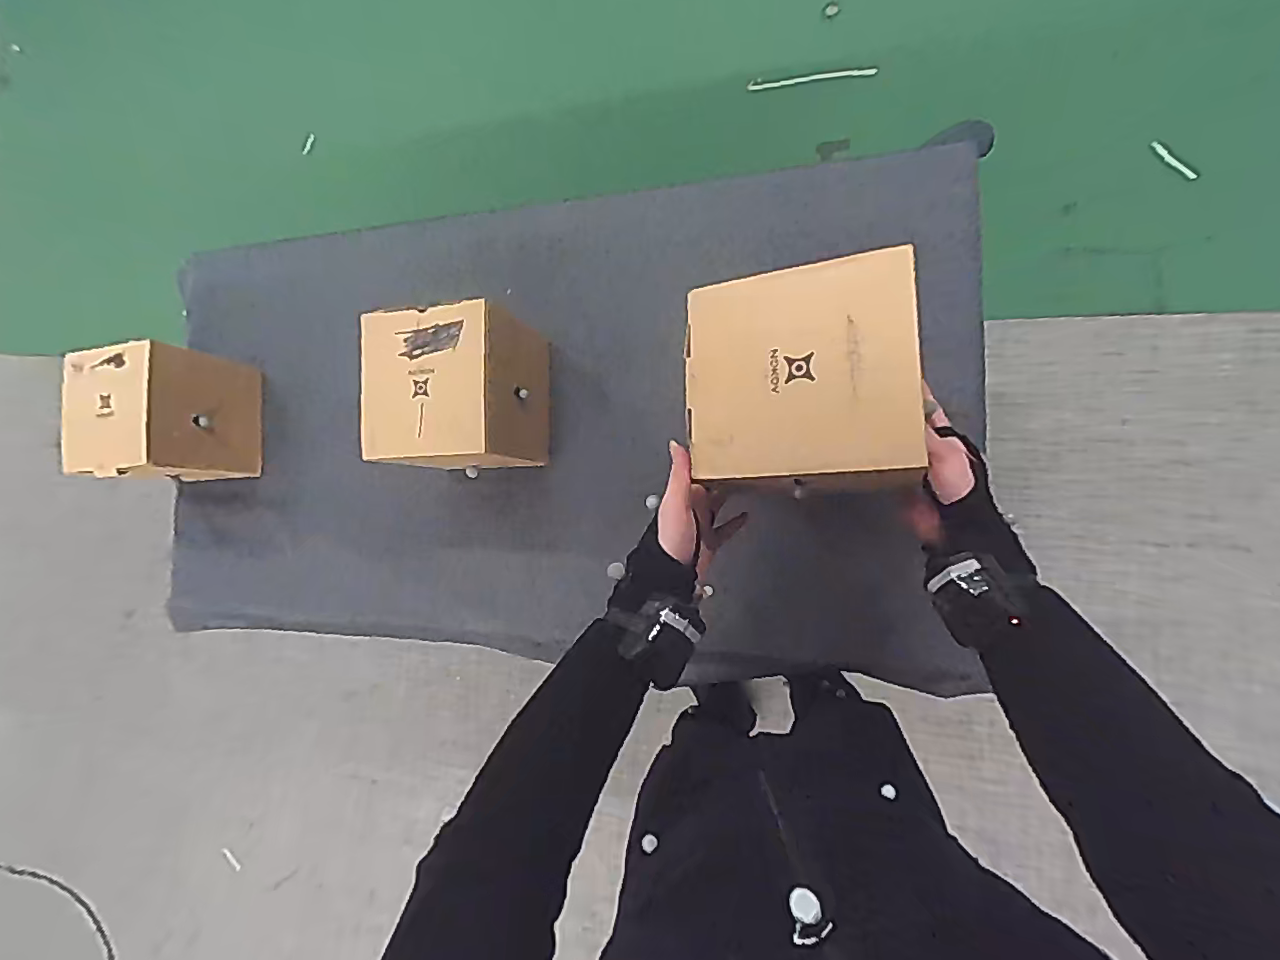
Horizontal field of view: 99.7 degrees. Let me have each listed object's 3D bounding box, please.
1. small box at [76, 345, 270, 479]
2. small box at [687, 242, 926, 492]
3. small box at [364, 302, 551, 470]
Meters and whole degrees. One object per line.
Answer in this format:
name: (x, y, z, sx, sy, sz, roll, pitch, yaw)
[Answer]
small box: (-0.703, -0.092, 0.828, 0.168, 0.176, 0.179, -4, 87, 15)
small box: (0.153, -0.079, 0.489, 0.179, 0.176, 0.168, -4, 83, 24)
small box: (-0.222, -0.107, 0.693, 0.168, 0.176, 0.179, -2, 87, 16)
